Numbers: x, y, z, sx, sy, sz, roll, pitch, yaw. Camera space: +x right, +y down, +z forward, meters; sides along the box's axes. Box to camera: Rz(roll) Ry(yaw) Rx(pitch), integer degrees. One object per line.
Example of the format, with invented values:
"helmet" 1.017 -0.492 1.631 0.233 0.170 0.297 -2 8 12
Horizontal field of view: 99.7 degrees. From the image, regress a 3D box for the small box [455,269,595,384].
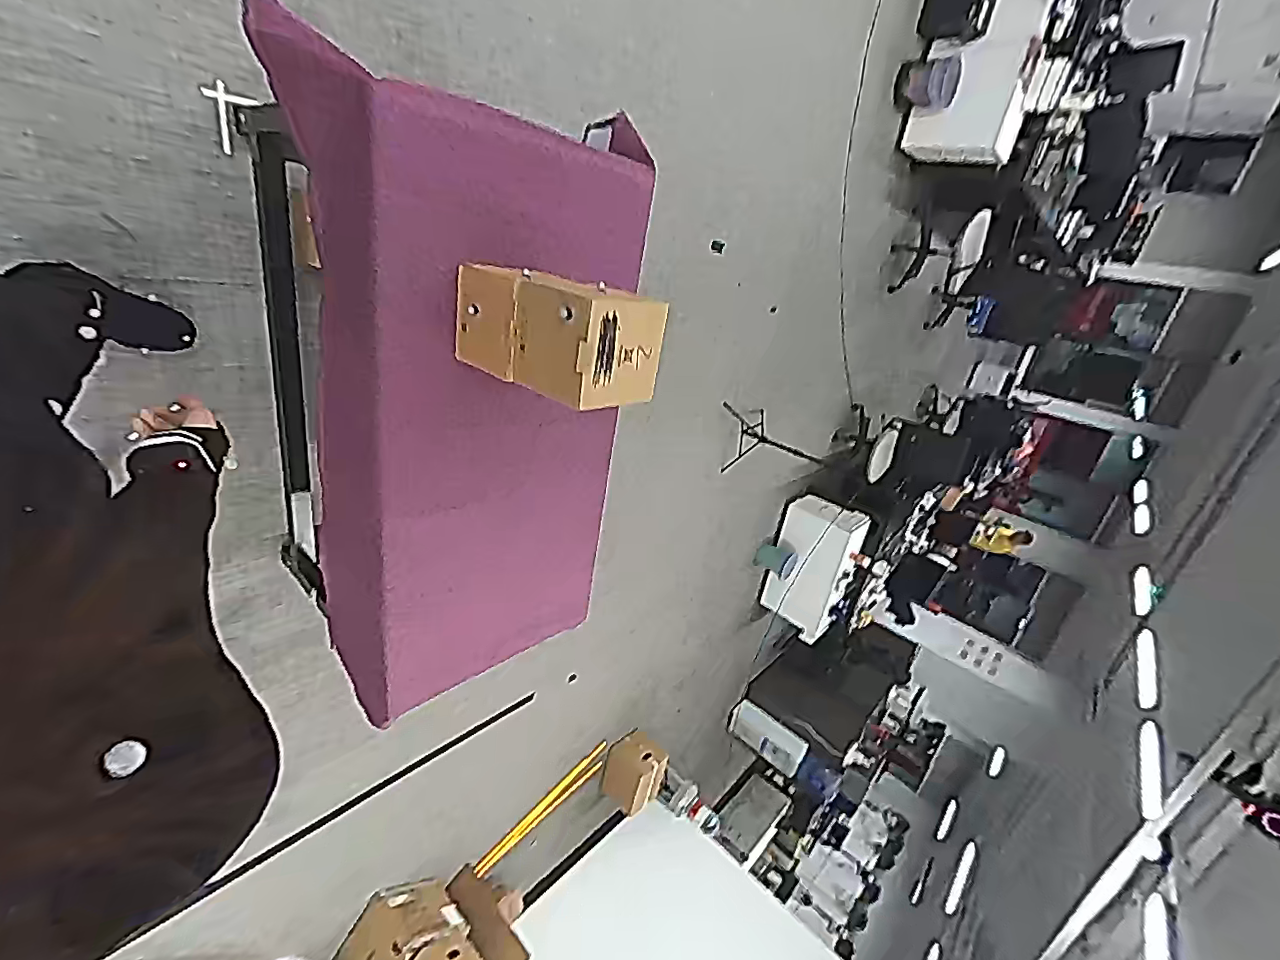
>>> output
"small box" -0.211 -0.281 0.985 0.179 0.176 0.168 -16 124 -46
